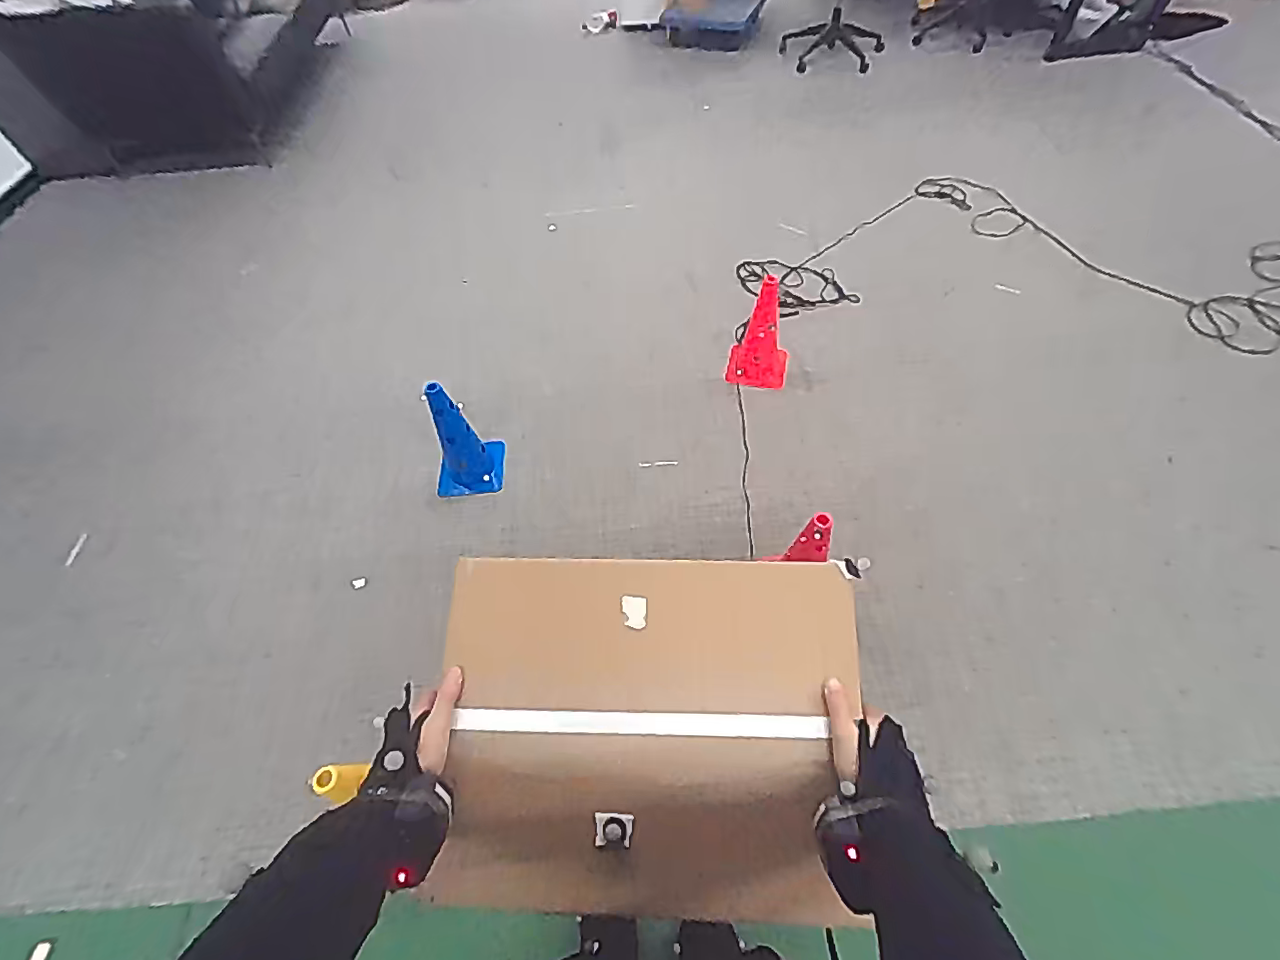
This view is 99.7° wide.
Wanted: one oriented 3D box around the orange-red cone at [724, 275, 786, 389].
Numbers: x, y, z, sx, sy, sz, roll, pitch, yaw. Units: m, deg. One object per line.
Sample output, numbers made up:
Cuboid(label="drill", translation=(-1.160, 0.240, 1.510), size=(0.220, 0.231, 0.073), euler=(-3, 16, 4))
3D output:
Cuboid(label="orange-red cone", translation=(0.394, -0.496, 1.745), size=(0.199, 0.360, 0.198), euler=(12, 57, 11))

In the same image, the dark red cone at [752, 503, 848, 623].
Cuboid(label="dark red cone", translation=(0.393, 0.167, 1.236), size=(0.202, 0.394, 0.201), euler=(-11, 57, -4))

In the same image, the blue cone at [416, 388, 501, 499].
Cuboid(label="blue cone", translation=(-0.548, -0.124, 1.568), size=(0.192, 0.380, 0.193), euler=(-5, 53, 1))
